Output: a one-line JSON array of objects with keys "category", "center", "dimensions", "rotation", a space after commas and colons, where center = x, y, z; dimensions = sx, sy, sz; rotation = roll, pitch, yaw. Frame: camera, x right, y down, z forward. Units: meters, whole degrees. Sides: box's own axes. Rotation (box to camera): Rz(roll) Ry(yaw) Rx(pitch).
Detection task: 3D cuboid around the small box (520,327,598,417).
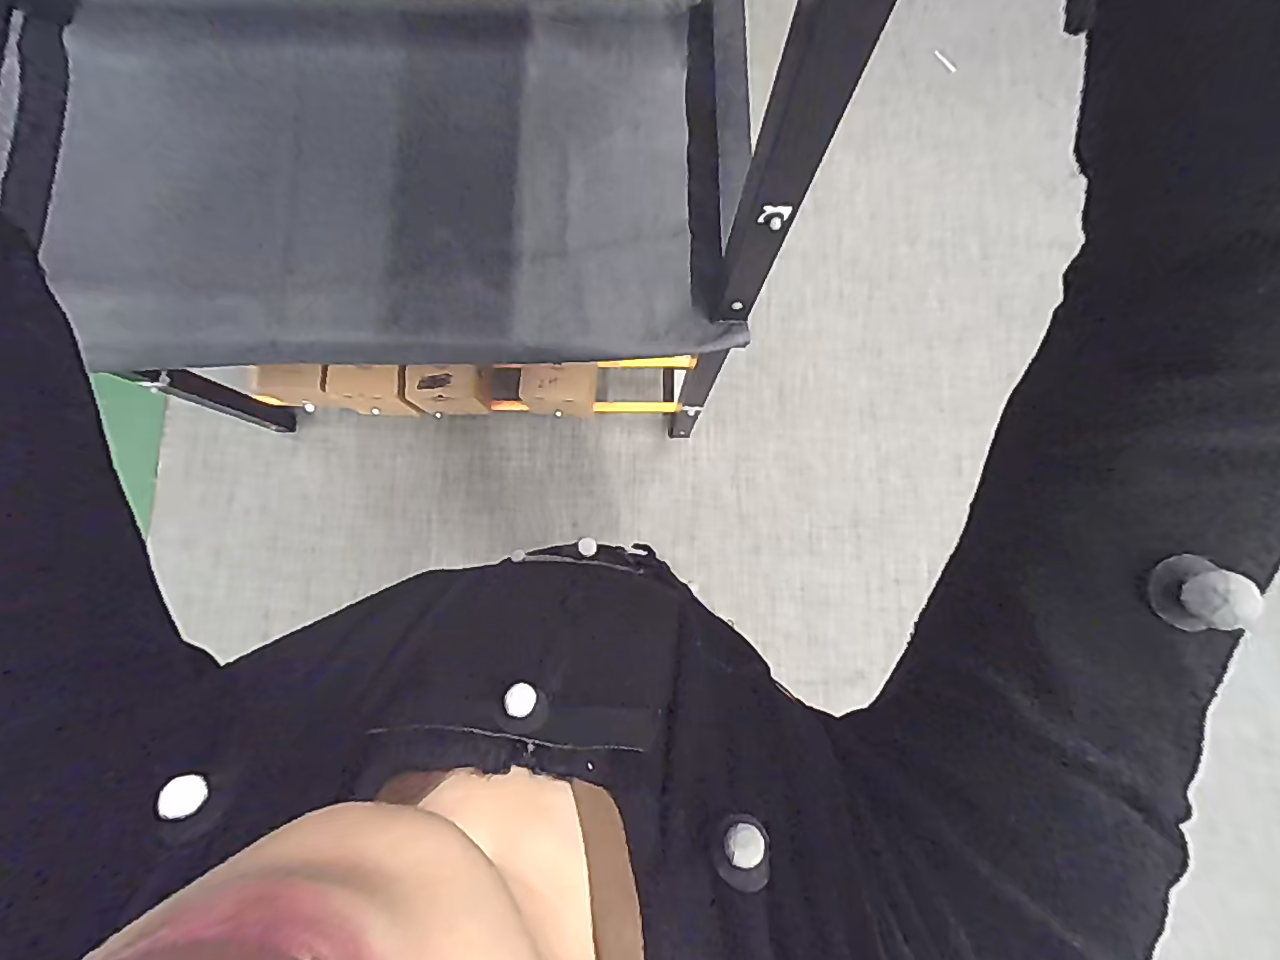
[{"category": "small box", "center": [-0.201, -0.271, 1.387], "dimensions": [0.168, 0.176, 0.179], "rotation": [5, 84, 1]}]
